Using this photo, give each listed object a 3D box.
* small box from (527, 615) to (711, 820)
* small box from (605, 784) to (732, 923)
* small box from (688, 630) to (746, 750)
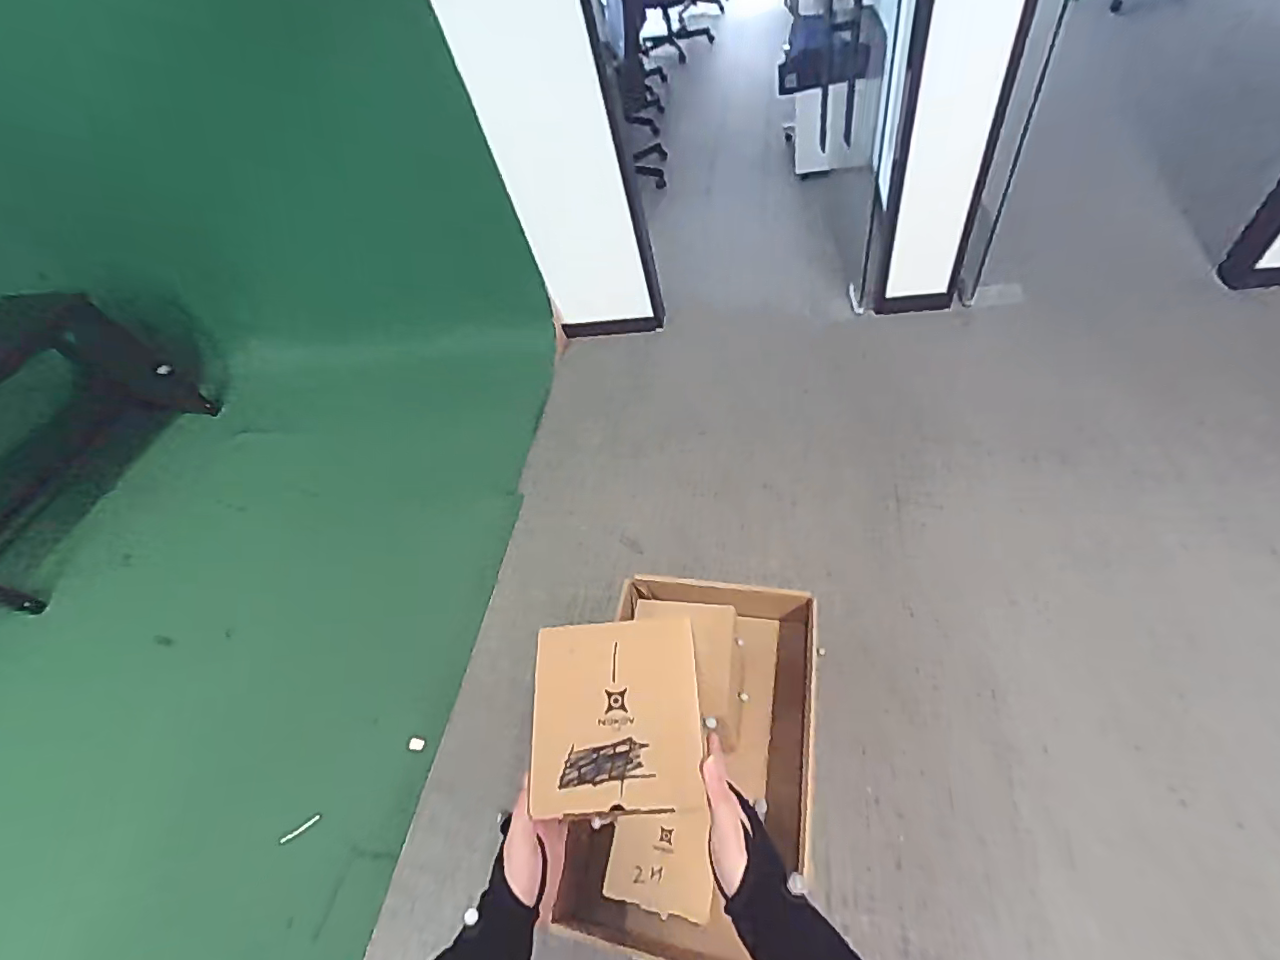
[{"bbox_3d":[-0.015,0.263,0.594,0.168,0.176,0.179,-7,58,6],"label":"small box"},{"bbox_3d":[0.059,0.609,0.907,0.168,0.176,0.179,3,54,18],"label":"small box"},{"bbox_3d":[0.115,0.406,1.051,0.168,0.176,0.179,2,57,16],"label":"small box"}]
